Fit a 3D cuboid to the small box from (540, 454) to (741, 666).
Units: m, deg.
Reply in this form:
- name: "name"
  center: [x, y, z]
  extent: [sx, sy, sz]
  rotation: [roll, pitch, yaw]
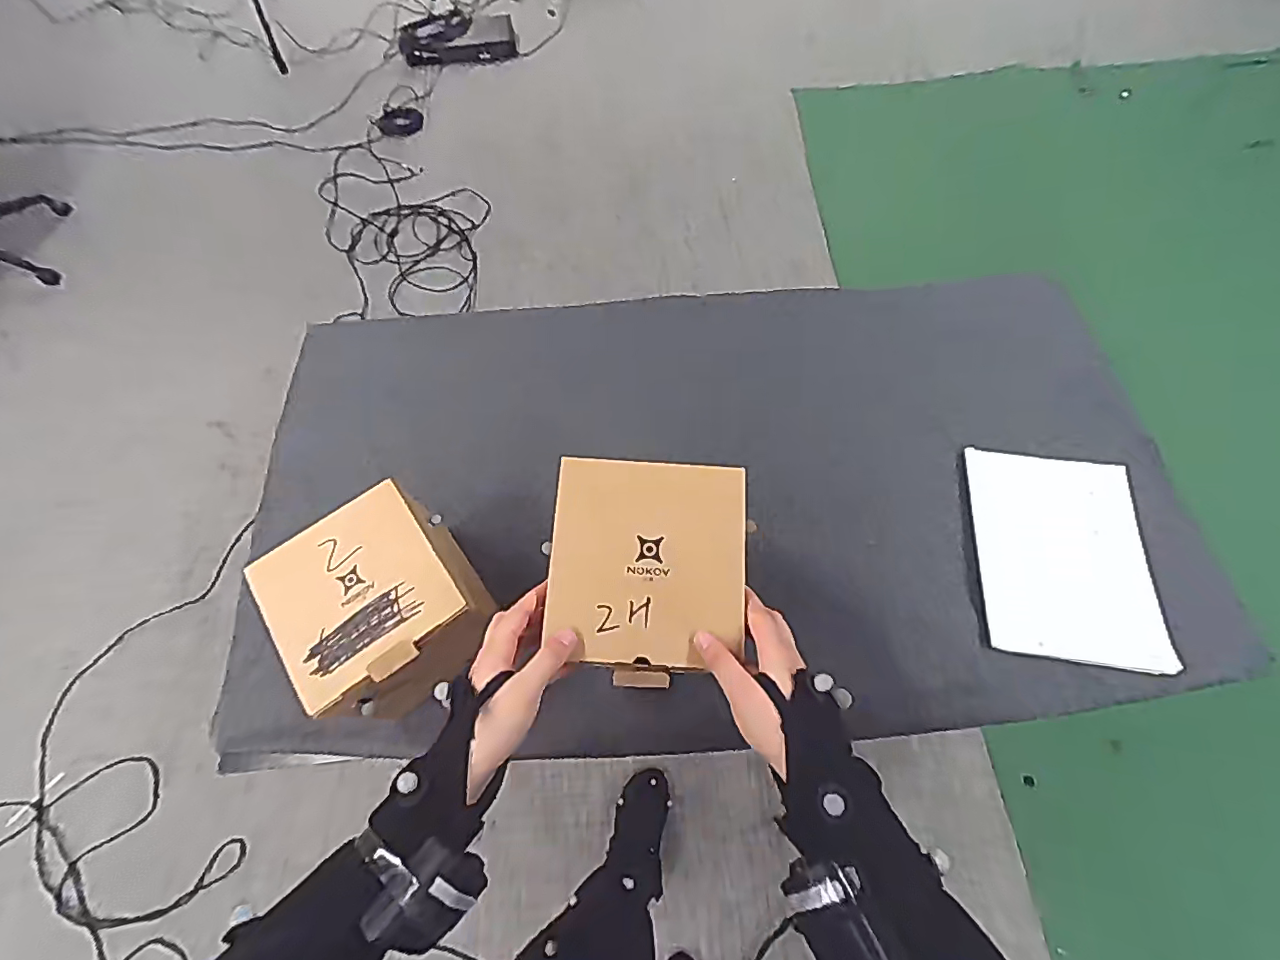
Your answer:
- name: "small box"
  center: [0.005, 0.087, 0.539]
  extent: [0.168, 0.176, 0.179]
  rotation: [3, 73, 2]
